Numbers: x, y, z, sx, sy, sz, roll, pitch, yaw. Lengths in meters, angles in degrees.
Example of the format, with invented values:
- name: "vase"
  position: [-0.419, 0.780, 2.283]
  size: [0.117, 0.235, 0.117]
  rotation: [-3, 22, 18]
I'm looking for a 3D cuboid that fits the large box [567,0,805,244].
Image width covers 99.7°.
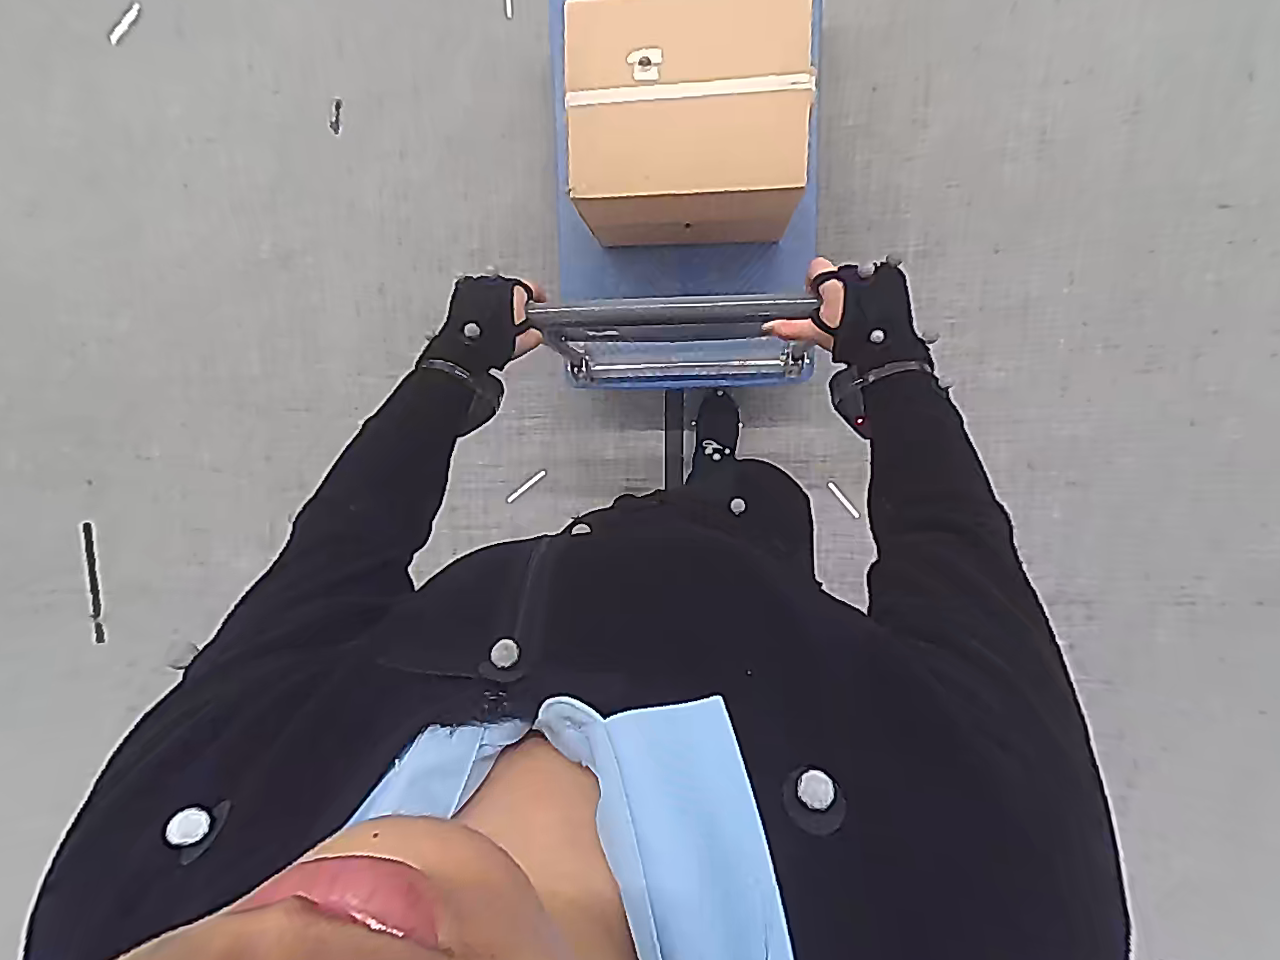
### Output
- name: "large box"
  position: [0.096, -0.674, 1.064]
  size: [0.408, 0.320, 0.320]
  rotation: [0, 97, 7]
